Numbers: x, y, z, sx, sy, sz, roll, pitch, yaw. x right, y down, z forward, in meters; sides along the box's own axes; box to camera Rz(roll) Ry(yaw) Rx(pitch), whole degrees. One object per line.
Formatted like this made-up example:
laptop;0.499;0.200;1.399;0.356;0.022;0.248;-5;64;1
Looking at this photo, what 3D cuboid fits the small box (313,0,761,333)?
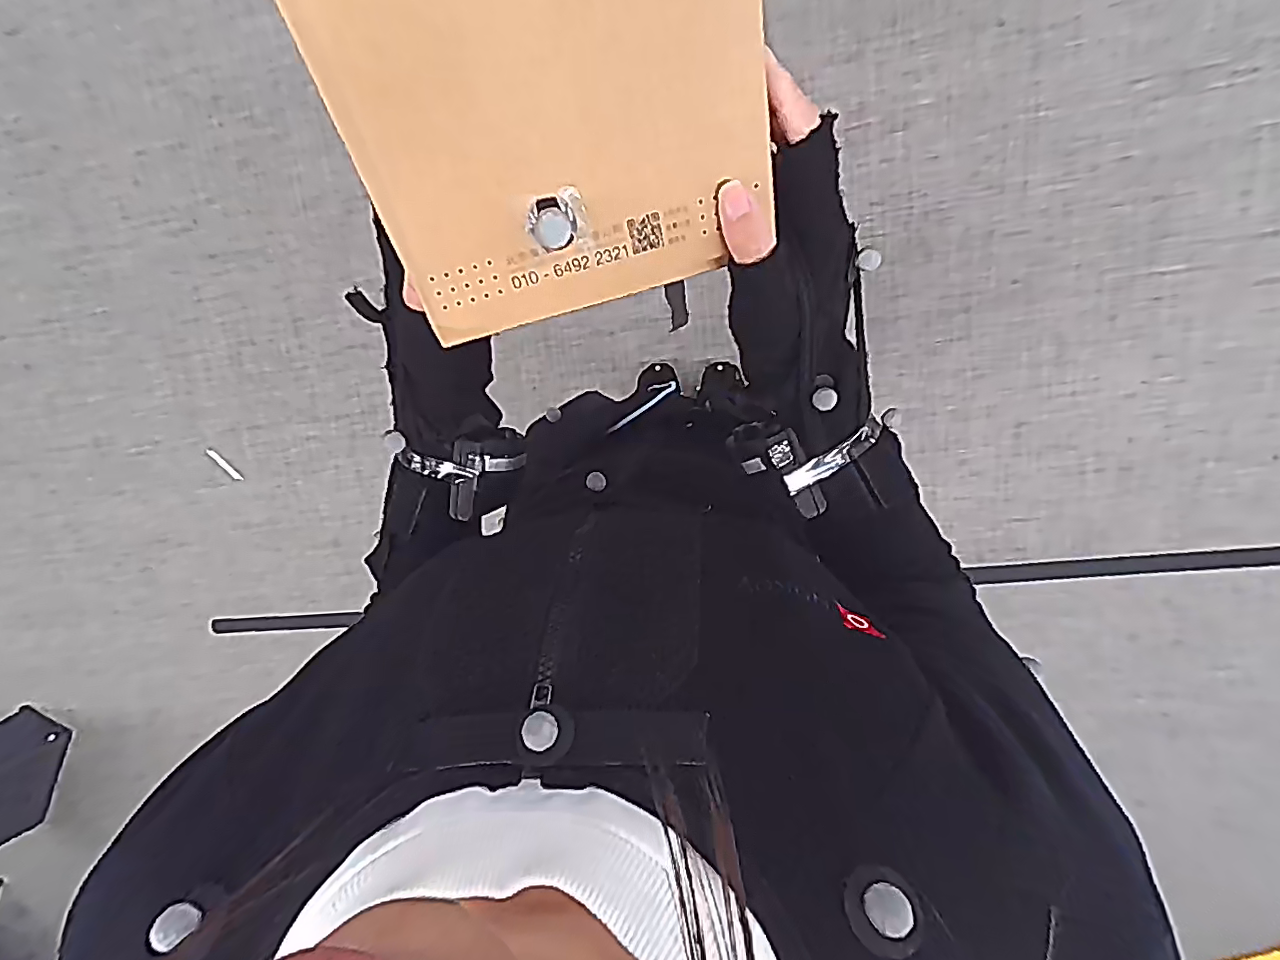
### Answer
small box;-0.046;-0.200;0.286;0.168;0.179;0.176;-17;128;-1
